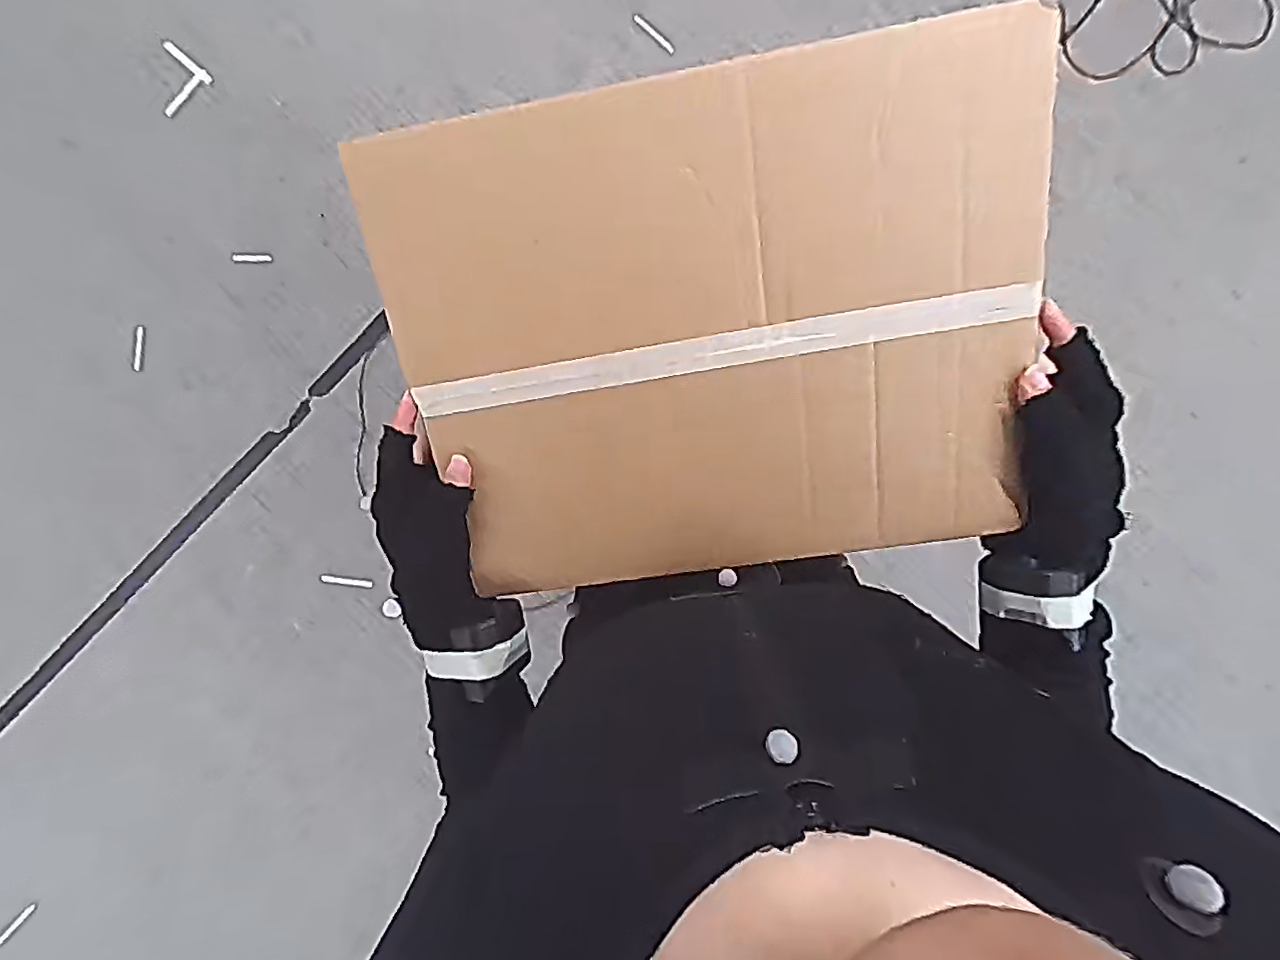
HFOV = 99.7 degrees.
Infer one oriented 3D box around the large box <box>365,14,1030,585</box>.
[{"bbox_3d":[0.050,-0.134,0.504,0.408,0.320,0.320,-8,109,5],"label":"large box"}]
